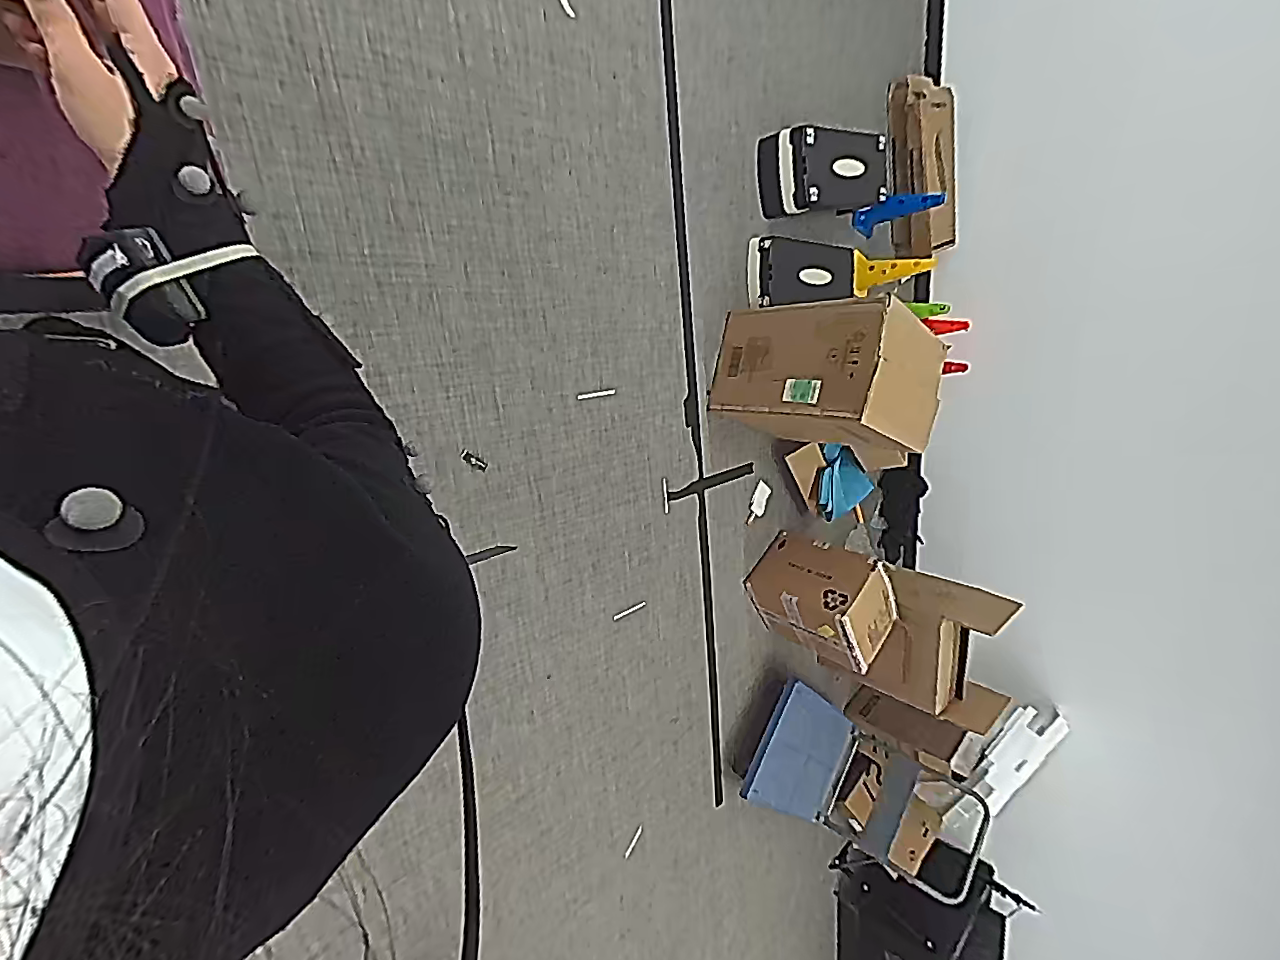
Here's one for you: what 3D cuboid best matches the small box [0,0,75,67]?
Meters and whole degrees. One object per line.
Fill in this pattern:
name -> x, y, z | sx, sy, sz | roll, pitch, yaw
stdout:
small box -> -0.445, -0.354, 0.285 | 0.179, 0.176, 0.168 | -12, 115, -40
